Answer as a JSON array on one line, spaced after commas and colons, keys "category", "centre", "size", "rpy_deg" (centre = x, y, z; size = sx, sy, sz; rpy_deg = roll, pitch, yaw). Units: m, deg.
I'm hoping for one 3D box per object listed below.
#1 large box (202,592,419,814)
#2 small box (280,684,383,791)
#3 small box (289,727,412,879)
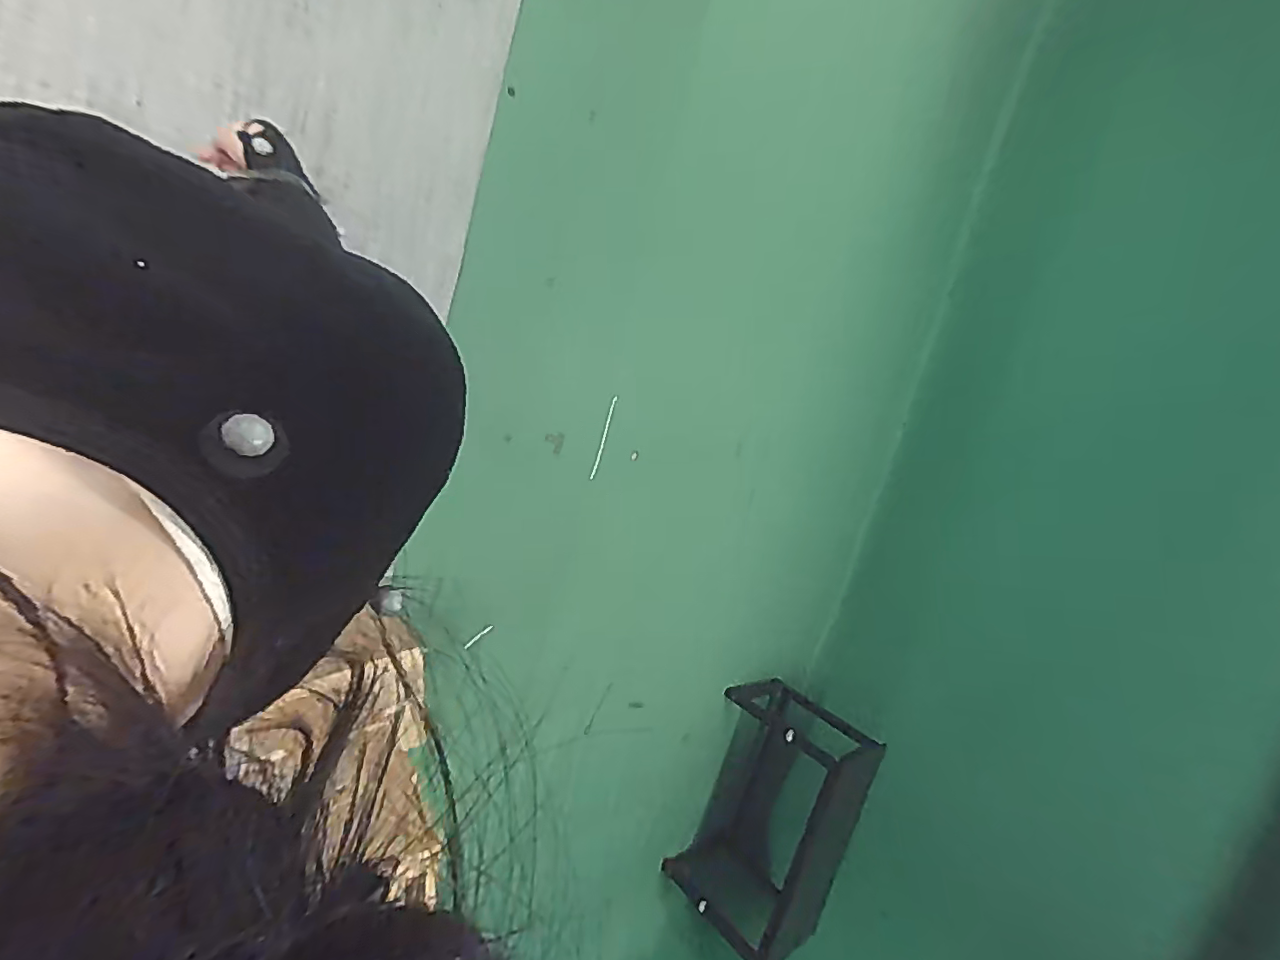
[{"category": "large box", "centre": [-0.838, 0.537, 1.397], "size": [0.408, 0.320, 0.320], "rpy_deg": [-11, 115, -43]}, {"category": "small box", "centre": [-0.689, 0.580, 1.202], "size": [0.168, 0.176, 0.179], "rpy_deg": [-3, 108, -43]}, {"category": "small box", "centre": [-0.585, 0.633, 1.090], "size": [0.179, 0.176, 0.168], "rpy_deg": [-1, 107, -43]}]
